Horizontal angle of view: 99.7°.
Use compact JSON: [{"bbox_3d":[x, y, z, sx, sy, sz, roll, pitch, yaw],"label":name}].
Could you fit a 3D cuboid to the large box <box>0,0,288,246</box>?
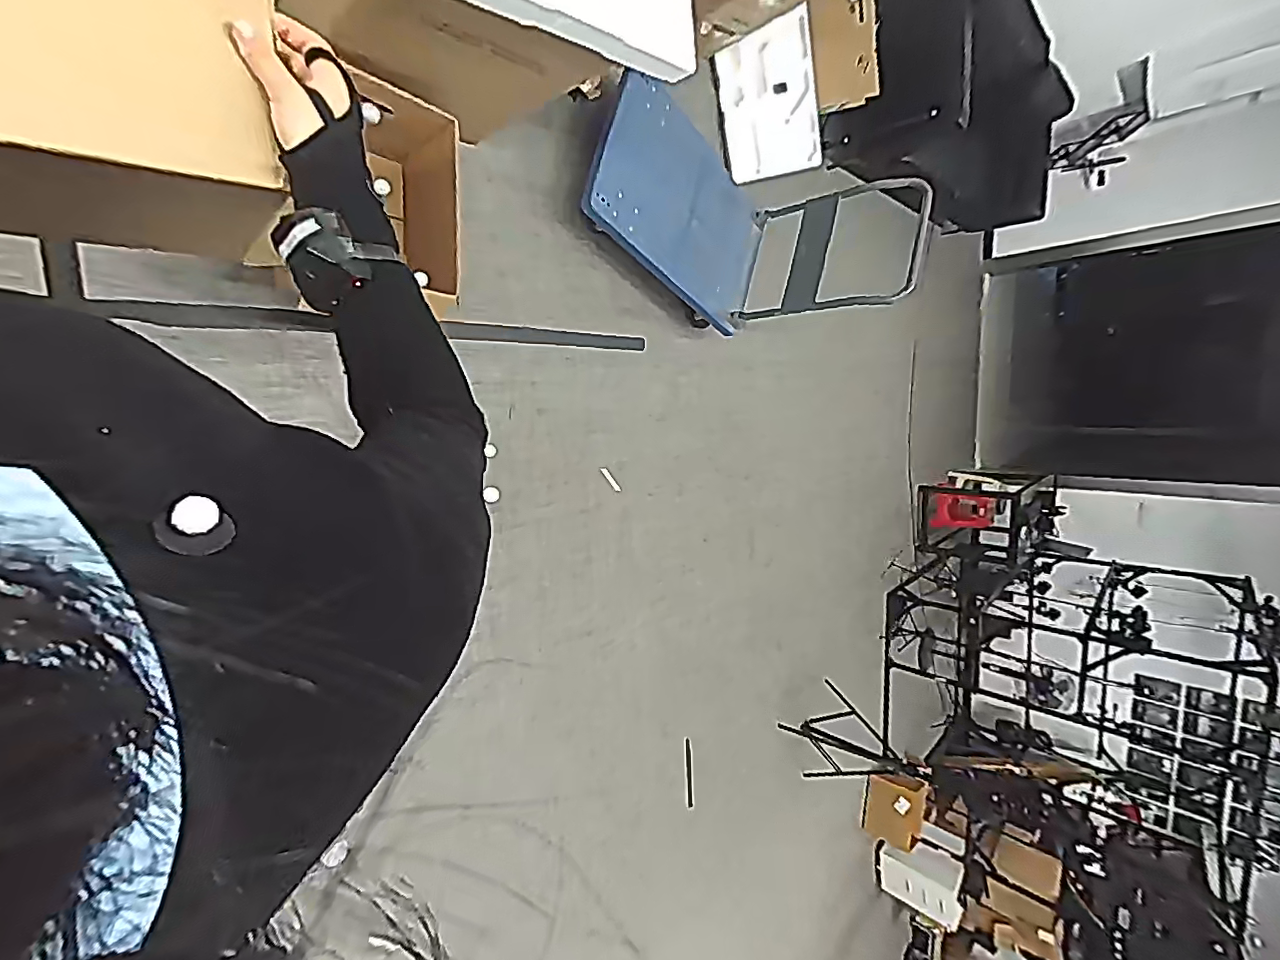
[{"bbox_3d":[-0.537,-0.380,0.396,0.408,0.320,0.320,-11,103,-40],"label":"large box"}]
